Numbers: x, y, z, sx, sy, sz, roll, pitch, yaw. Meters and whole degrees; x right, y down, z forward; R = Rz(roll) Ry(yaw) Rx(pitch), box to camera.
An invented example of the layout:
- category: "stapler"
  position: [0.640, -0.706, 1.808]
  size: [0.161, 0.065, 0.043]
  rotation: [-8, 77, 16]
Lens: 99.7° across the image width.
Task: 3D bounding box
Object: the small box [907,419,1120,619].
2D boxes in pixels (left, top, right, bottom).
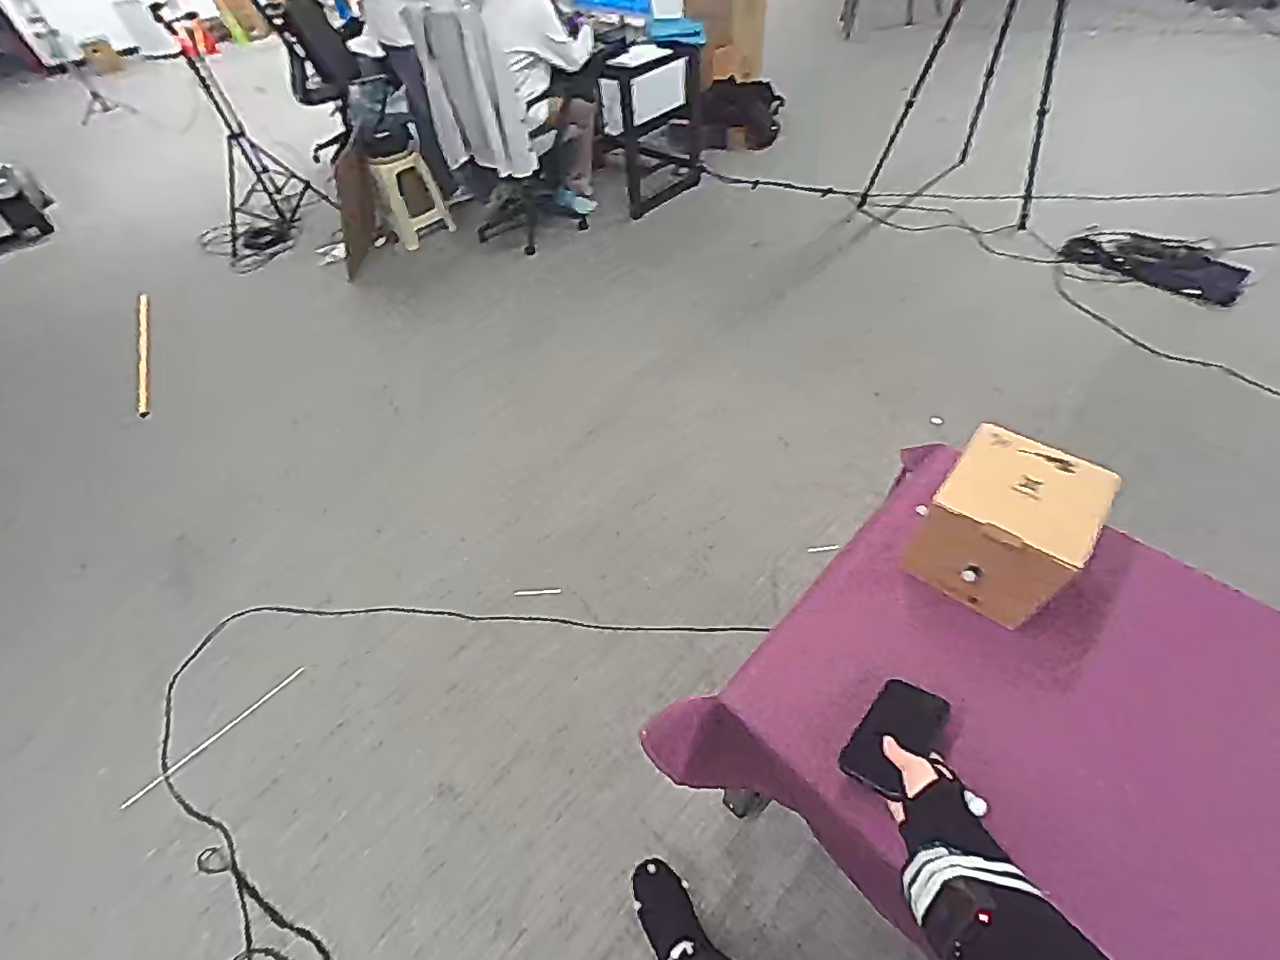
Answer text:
- category: "small box"
  position: [0.491, 0.056, 0.737]
  size: [0.168, 0.176, 0.179]
  rotation: [31, 62, 27]
